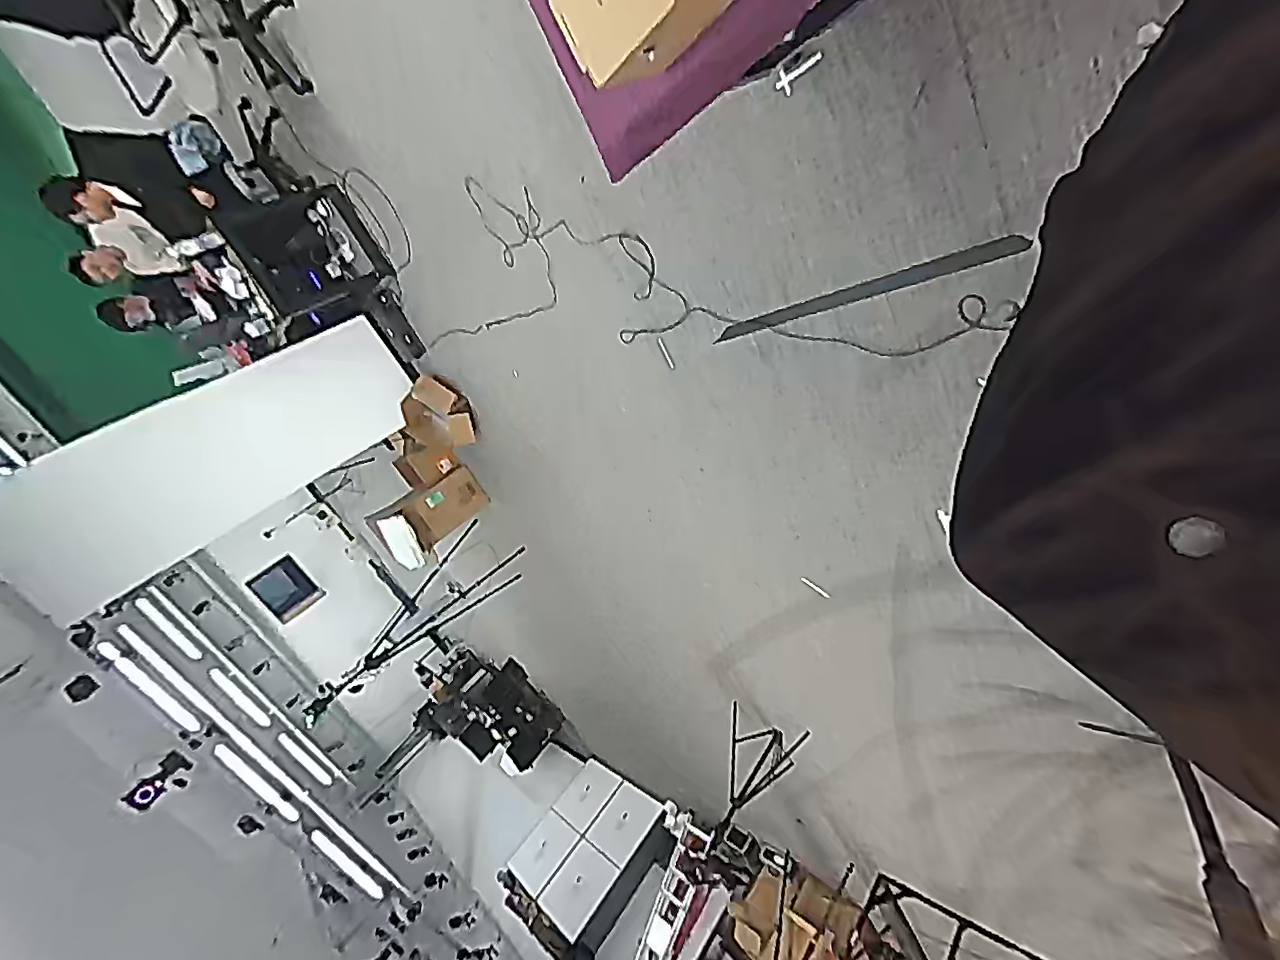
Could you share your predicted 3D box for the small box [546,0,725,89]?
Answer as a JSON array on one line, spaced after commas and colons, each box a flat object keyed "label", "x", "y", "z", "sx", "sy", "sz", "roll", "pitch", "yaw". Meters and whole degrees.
[{"label": "small box", "x": -0.009, "y": -0.686, "z": 0.743, "sx": 0.179, "sy": 0.176, "sz": 0.168, "roll": -5, "pitch": 122, "yaw": 51}]
